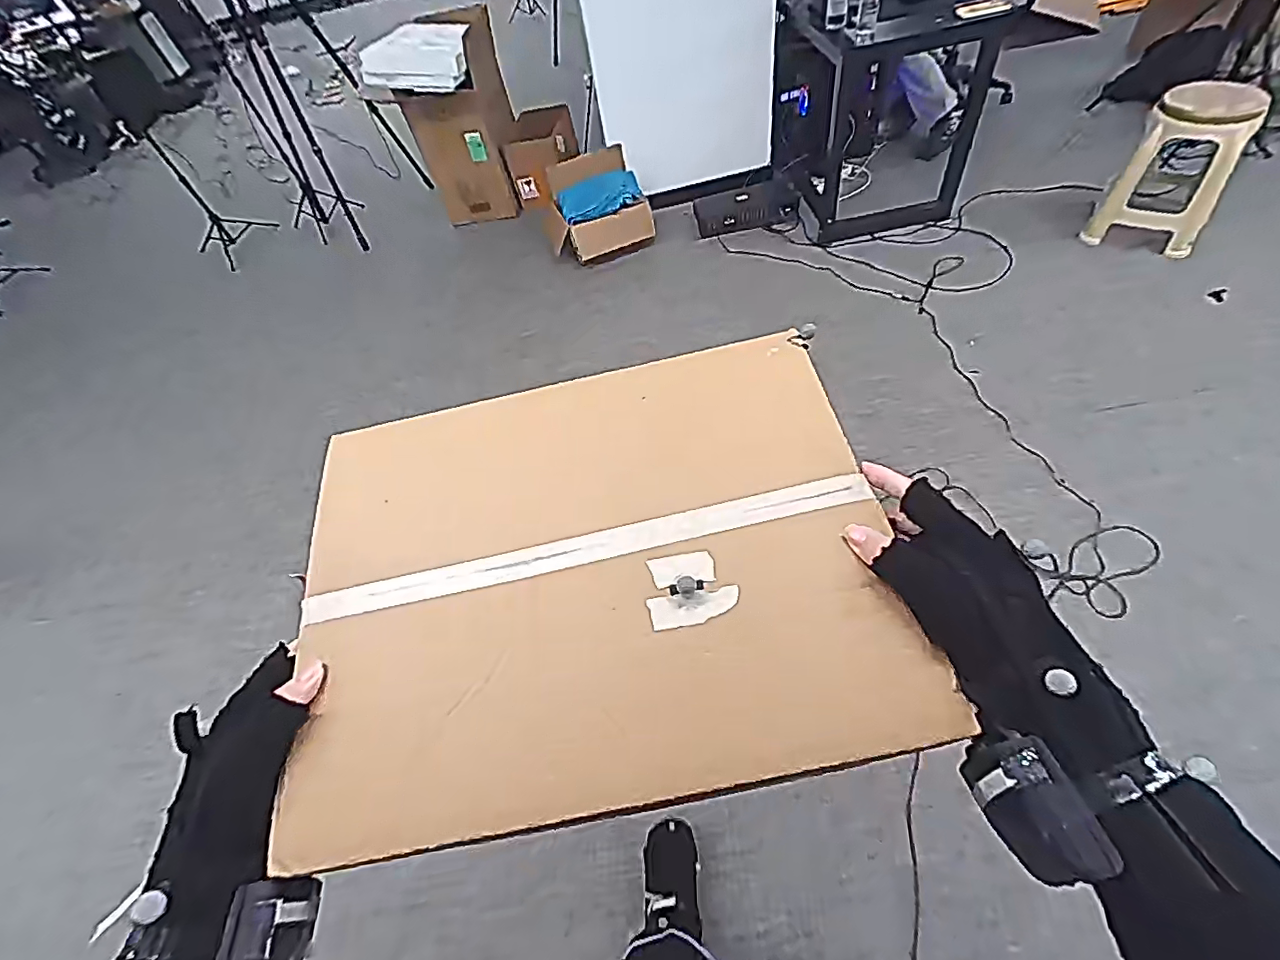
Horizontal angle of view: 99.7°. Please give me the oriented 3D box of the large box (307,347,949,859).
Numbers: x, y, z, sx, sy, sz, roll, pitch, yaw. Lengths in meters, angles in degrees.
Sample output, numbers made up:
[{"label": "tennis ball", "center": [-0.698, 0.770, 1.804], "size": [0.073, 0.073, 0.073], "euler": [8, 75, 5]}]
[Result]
[{"label": "large box", "center": [-0.017, 0.130, 0.524], "size": [0.408, 0.320, 0.320], "euler": [-13, 59, 1]}]
